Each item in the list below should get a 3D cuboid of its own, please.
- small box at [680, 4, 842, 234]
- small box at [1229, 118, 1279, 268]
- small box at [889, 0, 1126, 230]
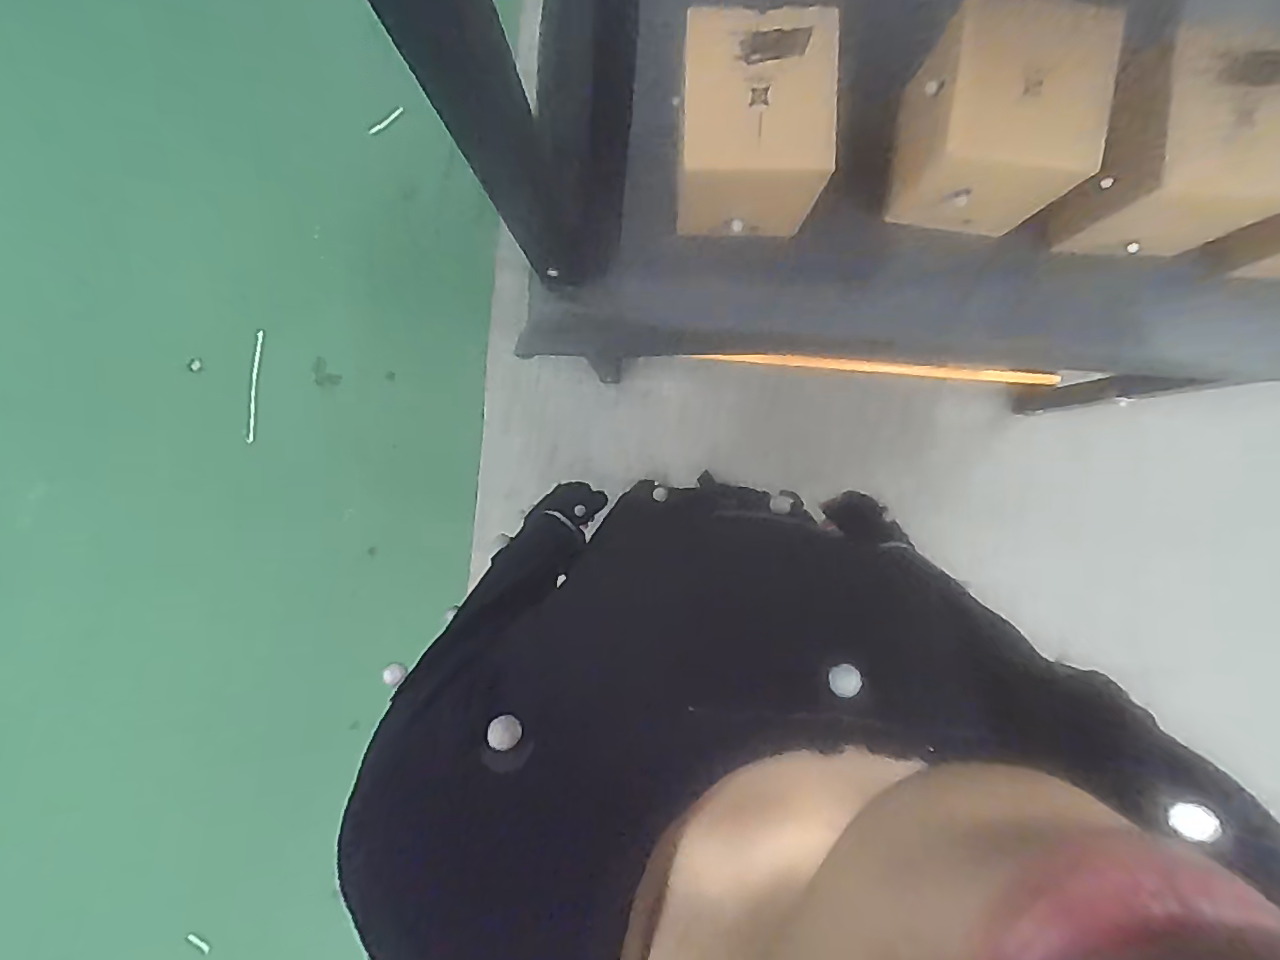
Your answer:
[{"bbox_3d":[0.136,-0.428,0.665,0.168,0.176,0.179,1,92,2],"label":"small box"},{"bbox_3d":[0.867,-0.360,0.640,0.168,0.176,0.179,3,91,2],"label":"small box"},{"bbox_3d":[0.425,-0.430,0.658,0.168,0.176,0.179,9,91,2],"label":"small box"}]
